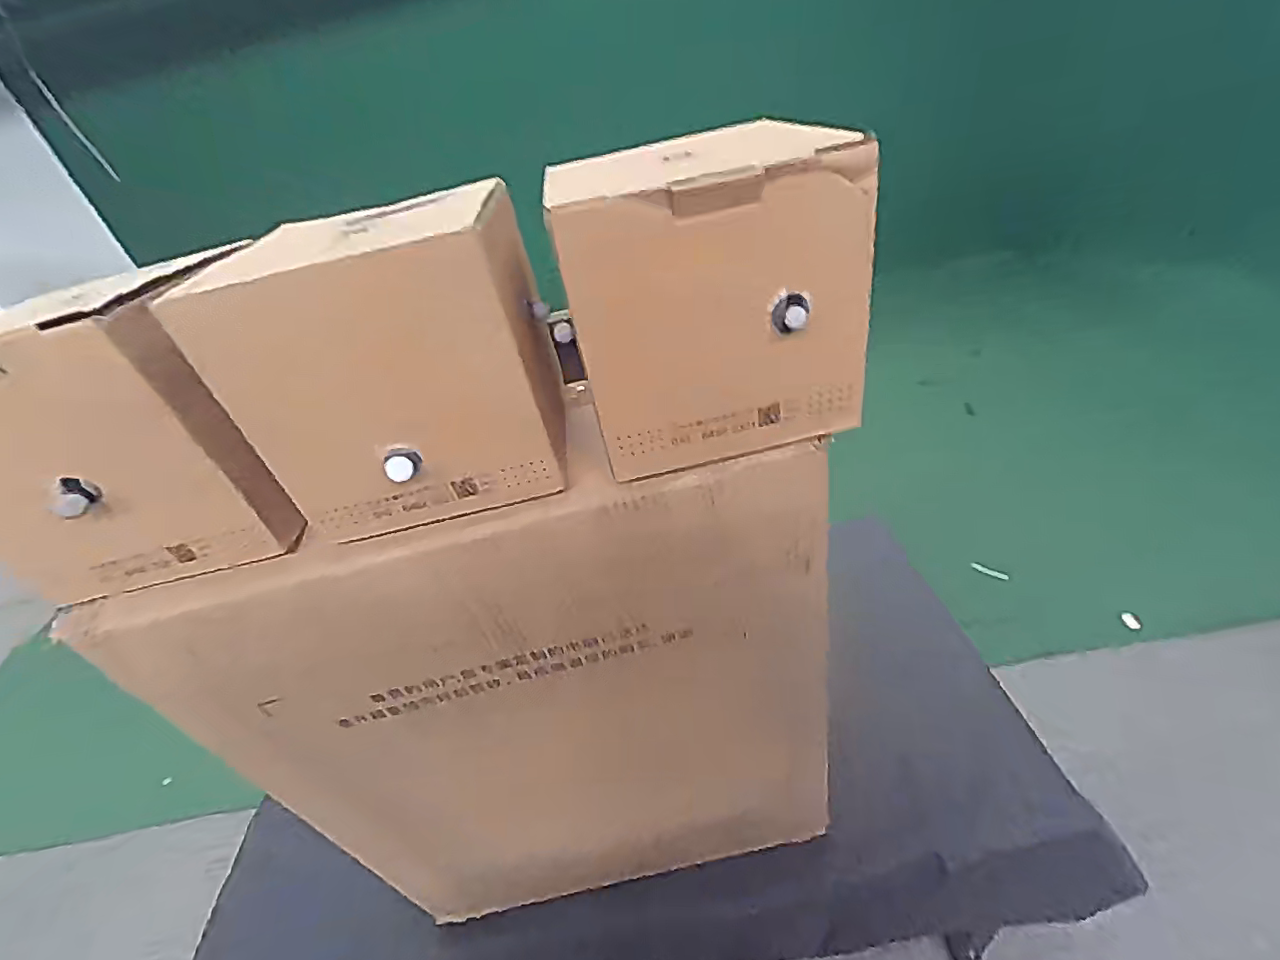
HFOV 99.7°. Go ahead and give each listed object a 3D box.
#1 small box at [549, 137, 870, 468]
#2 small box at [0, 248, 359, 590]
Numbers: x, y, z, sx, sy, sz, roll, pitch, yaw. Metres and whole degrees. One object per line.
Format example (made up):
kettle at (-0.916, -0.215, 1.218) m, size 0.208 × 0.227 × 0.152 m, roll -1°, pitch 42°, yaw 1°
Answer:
small box at (0.037, -0.122, 0.378) m, size 0.168 × 0.176 × 0.179 m, roll -12°, pitch 35°, yaw -2°
small box at (-0.337, -0.041, 0.387) m, size 0.168 × 0.176 × 0.179 m, roll -14°, pitch 36°, yaw 1°
